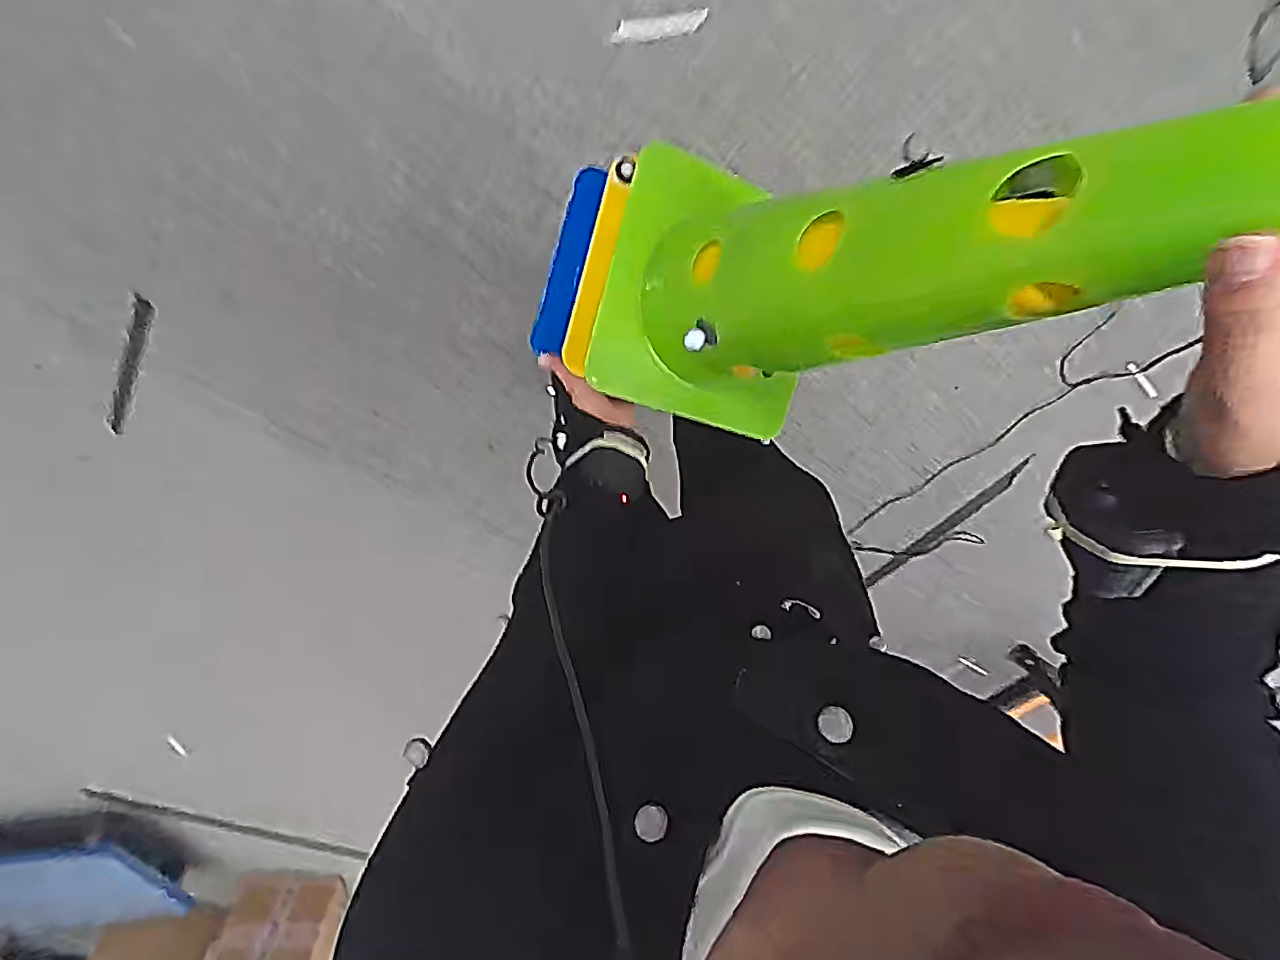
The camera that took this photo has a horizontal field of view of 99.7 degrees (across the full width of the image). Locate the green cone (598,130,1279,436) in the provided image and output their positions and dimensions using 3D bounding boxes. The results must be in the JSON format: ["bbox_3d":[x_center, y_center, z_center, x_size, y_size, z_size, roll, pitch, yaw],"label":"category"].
[{"bbox_3d":[0.134,-0.113,0.287,0.200,0.368,0.202,13,98,-22],"label":"green cone"}]
